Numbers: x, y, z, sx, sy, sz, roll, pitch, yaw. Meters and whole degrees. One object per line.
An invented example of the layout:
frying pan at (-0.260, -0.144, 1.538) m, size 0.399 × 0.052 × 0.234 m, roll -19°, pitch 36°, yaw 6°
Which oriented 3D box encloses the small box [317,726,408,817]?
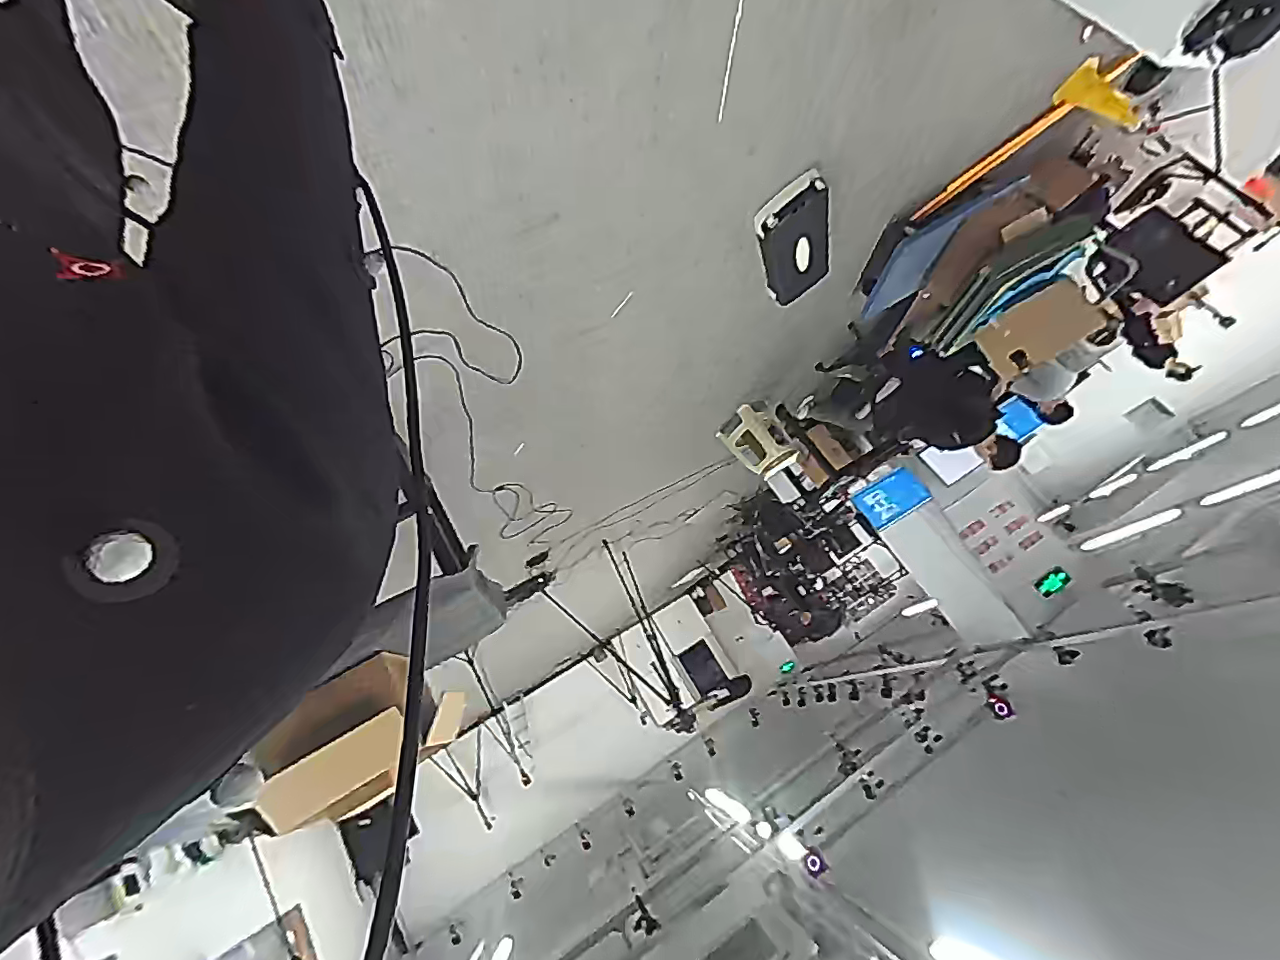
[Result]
small box at (-0.826, 0.858, 1.606) m, size 0.179 × 0.176 × 0.168 m, roll -29°, pitch 162°, yaw -15°
